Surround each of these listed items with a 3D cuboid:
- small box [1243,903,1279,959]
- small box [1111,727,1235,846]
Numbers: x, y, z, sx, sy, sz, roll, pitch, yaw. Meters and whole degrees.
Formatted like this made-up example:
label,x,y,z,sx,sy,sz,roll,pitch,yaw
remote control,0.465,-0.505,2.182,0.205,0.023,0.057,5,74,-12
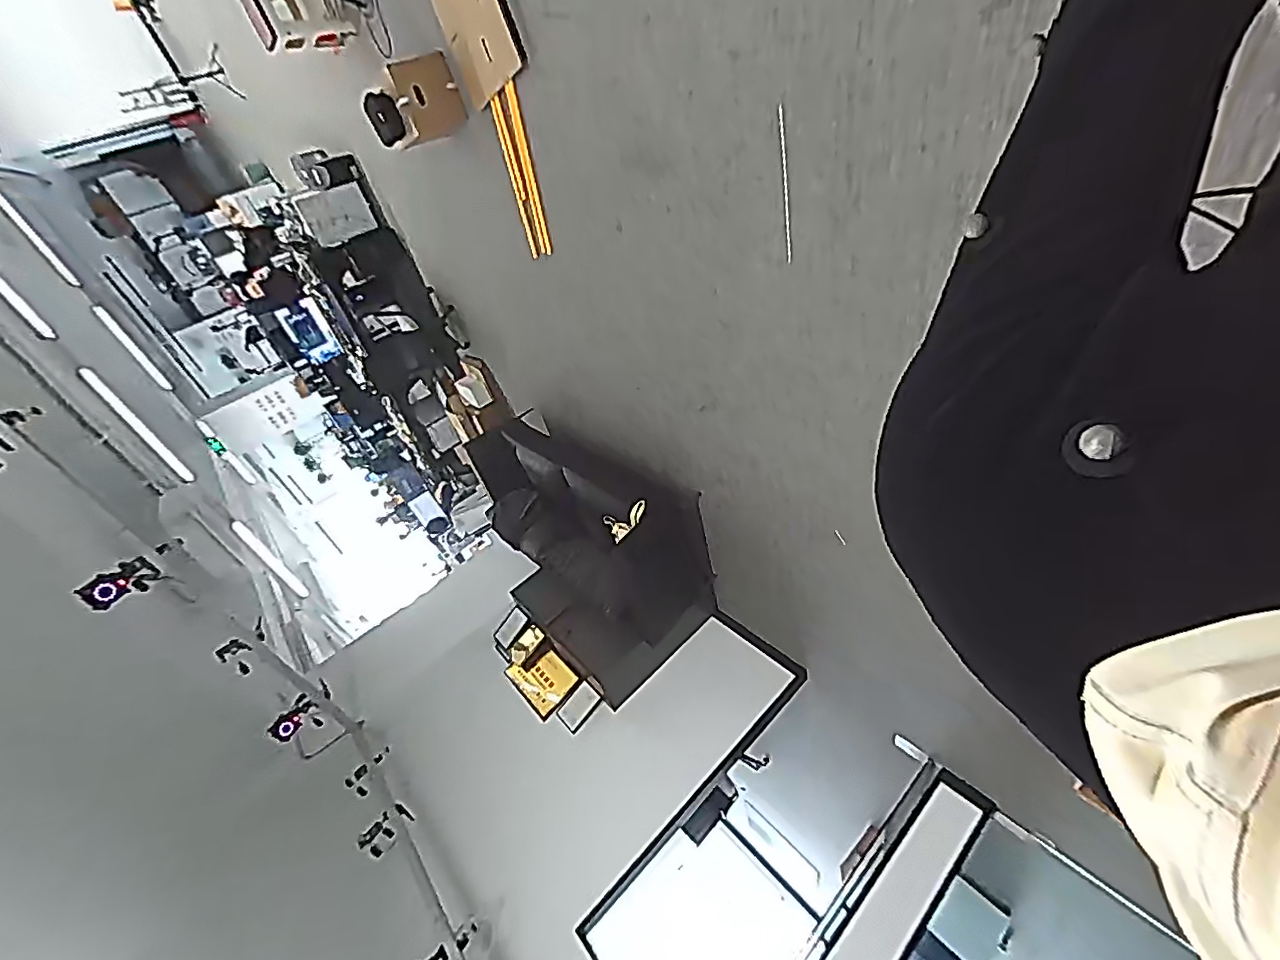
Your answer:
label,x,y,z,sx,sy,sz,roll,pitch,yaw
small box,1.455,1.038,1.146,0.168,0.176,0.179,31,148,37
small box,1.343,0.764,1.363,0.168,0.176,0.179,29,148,41
